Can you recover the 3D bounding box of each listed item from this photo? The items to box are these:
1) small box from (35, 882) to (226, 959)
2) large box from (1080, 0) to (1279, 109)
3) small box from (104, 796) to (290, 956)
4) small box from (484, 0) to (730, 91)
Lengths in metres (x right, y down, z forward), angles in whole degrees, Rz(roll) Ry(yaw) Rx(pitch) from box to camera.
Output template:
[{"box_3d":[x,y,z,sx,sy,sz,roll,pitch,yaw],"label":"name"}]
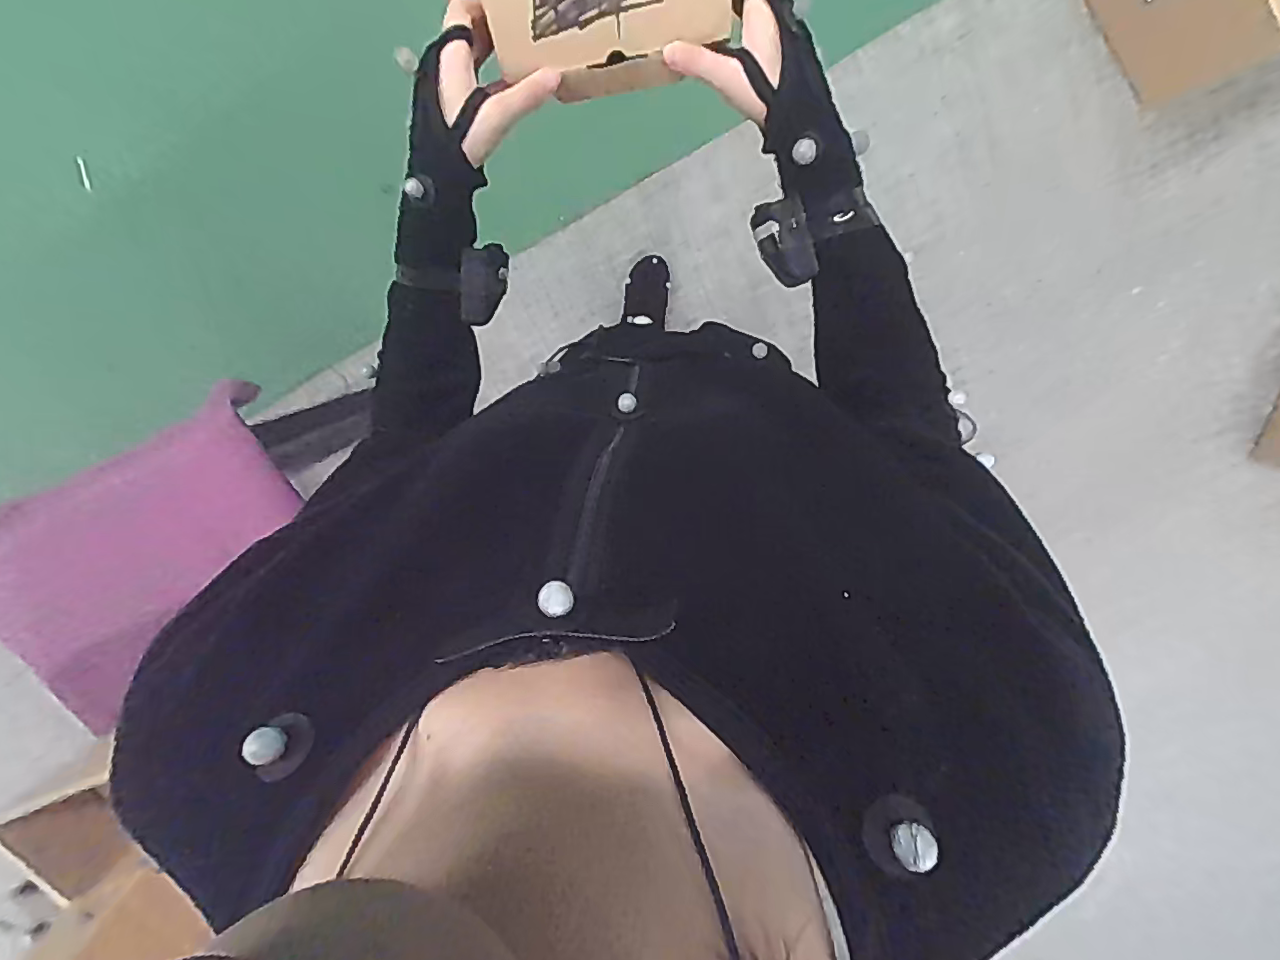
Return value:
[{"box_3d":[-0.749,0.722,0.762,0.168,0.176,0.179,-26,104,11],"label":"small box"},{"box_3d":[1.081,-0.995,0.970,0.320,0.320,0.408,-40,100,14],"label":"large box"},{"box_3d":[-0.740,0.680,0.918,0.179,0.176,0.168,-24,104,10],"label":"small box"},{"box_3d":[-0.027,-0.407,0.385,0.168,0.176,0.179,-6,131,6],"label":"small box"}]
